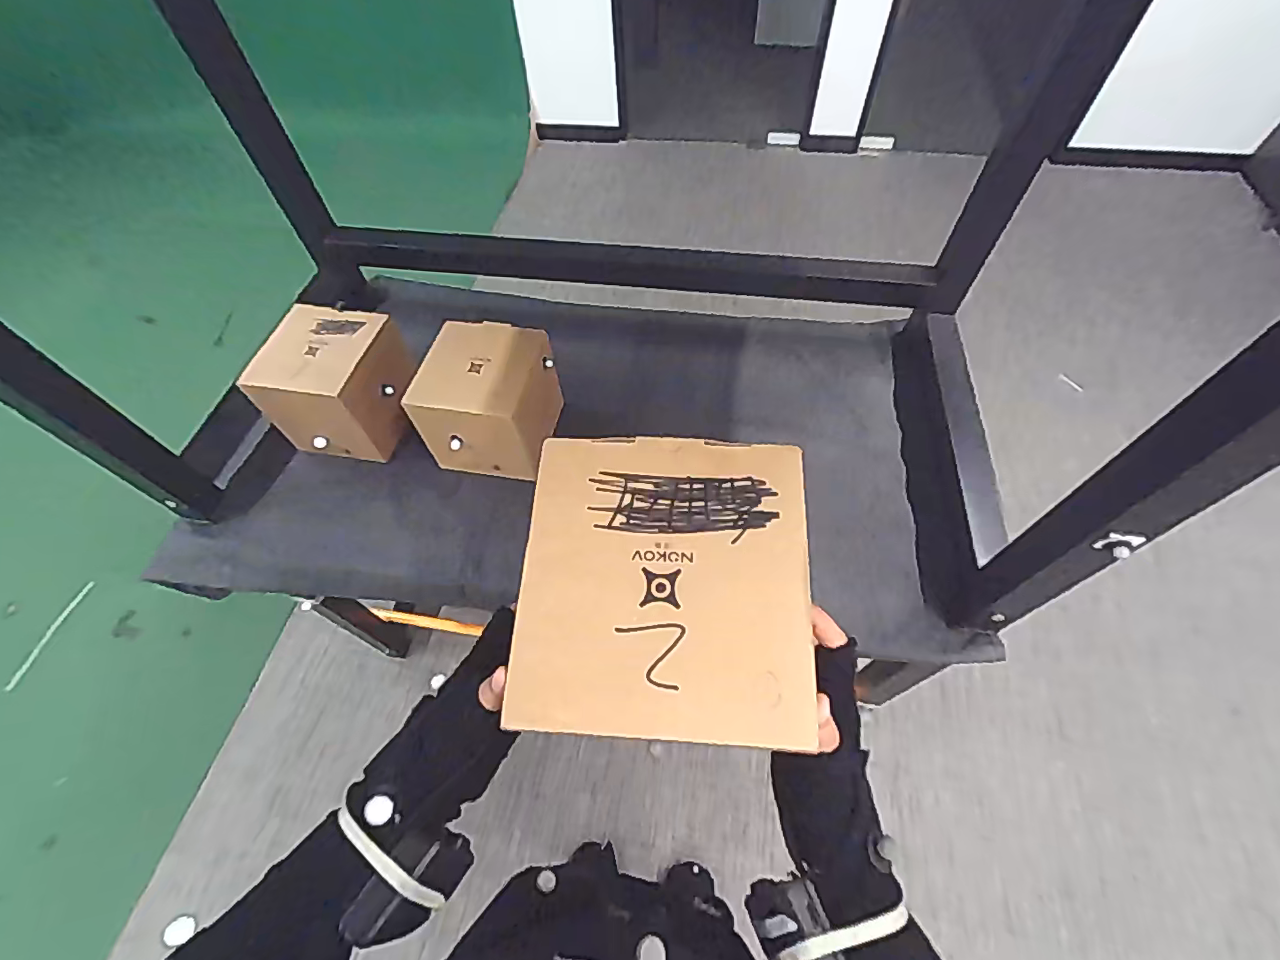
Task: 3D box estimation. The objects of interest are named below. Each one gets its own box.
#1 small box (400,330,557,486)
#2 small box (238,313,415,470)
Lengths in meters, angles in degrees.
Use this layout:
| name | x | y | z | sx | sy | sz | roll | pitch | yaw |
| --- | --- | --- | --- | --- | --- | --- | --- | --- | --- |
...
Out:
| name | x | y | z | sx | sy | sz | roll | pitch | yaw |
| --- | --- | --- | --- | --- | --- | --- | --- | --- | --- |
| small box | -0.239 | -0.109 | 0.857 | 0.168 | 0.176 | 0.179 | 8 | 57 | 7 |
| small box | -0.488 | -0.142 | 0.884 | 0.168 | 0.176 | 0.179 | 8 | 58 | 7 |
